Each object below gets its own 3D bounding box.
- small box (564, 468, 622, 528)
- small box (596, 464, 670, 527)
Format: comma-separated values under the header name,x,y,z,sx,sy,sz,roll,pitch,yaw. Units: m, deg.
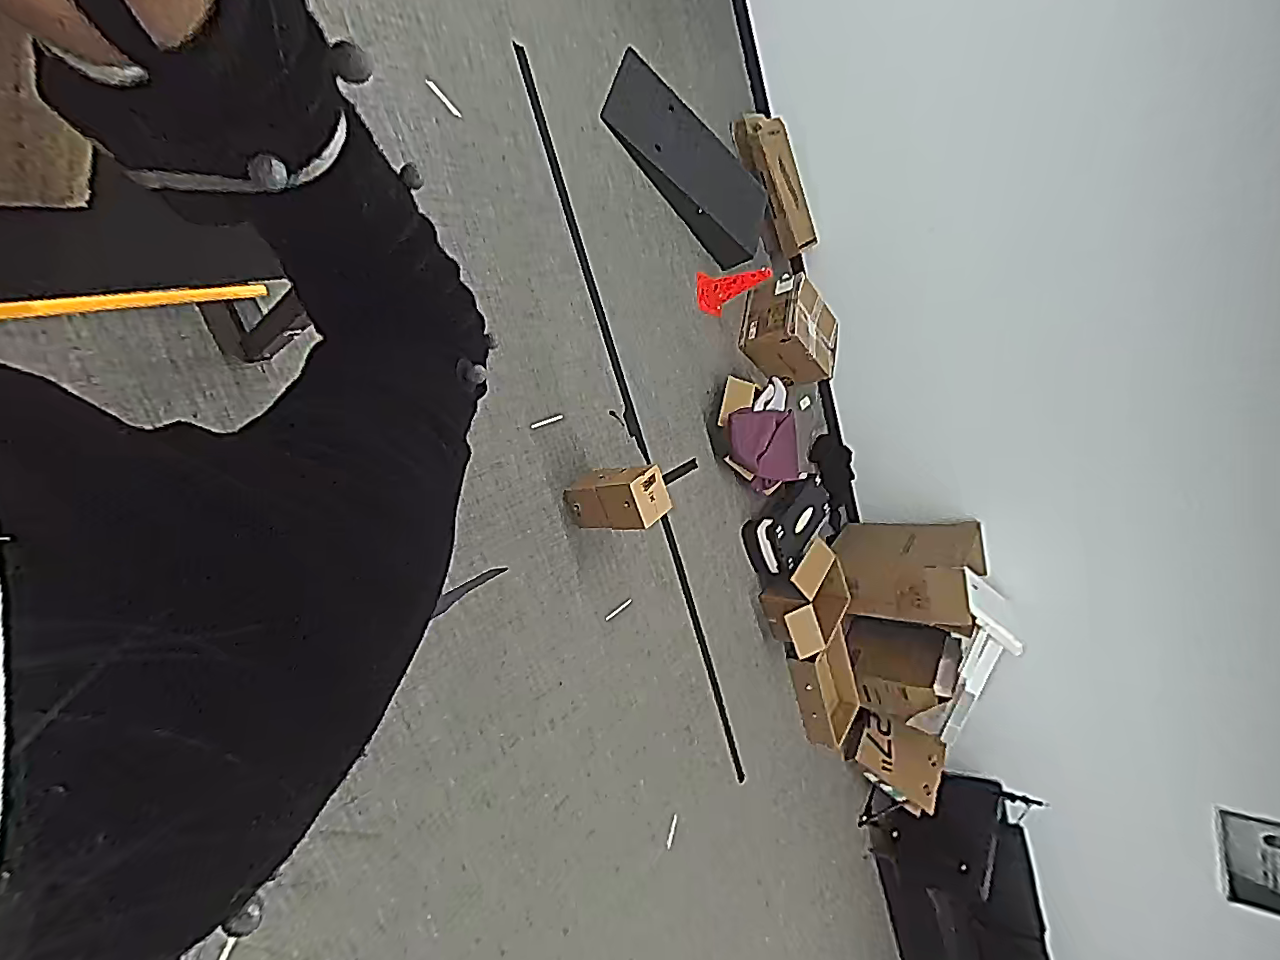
name,x,y,z,sx,sy,sz,roll,pitch,yaw
small box,-0.152,0.066,2.019,0.179,0.176,0.168,-38,113,-42
small box,-0.028,0.059,1.911,0.168,0.176,0.179,-35,112,-43
